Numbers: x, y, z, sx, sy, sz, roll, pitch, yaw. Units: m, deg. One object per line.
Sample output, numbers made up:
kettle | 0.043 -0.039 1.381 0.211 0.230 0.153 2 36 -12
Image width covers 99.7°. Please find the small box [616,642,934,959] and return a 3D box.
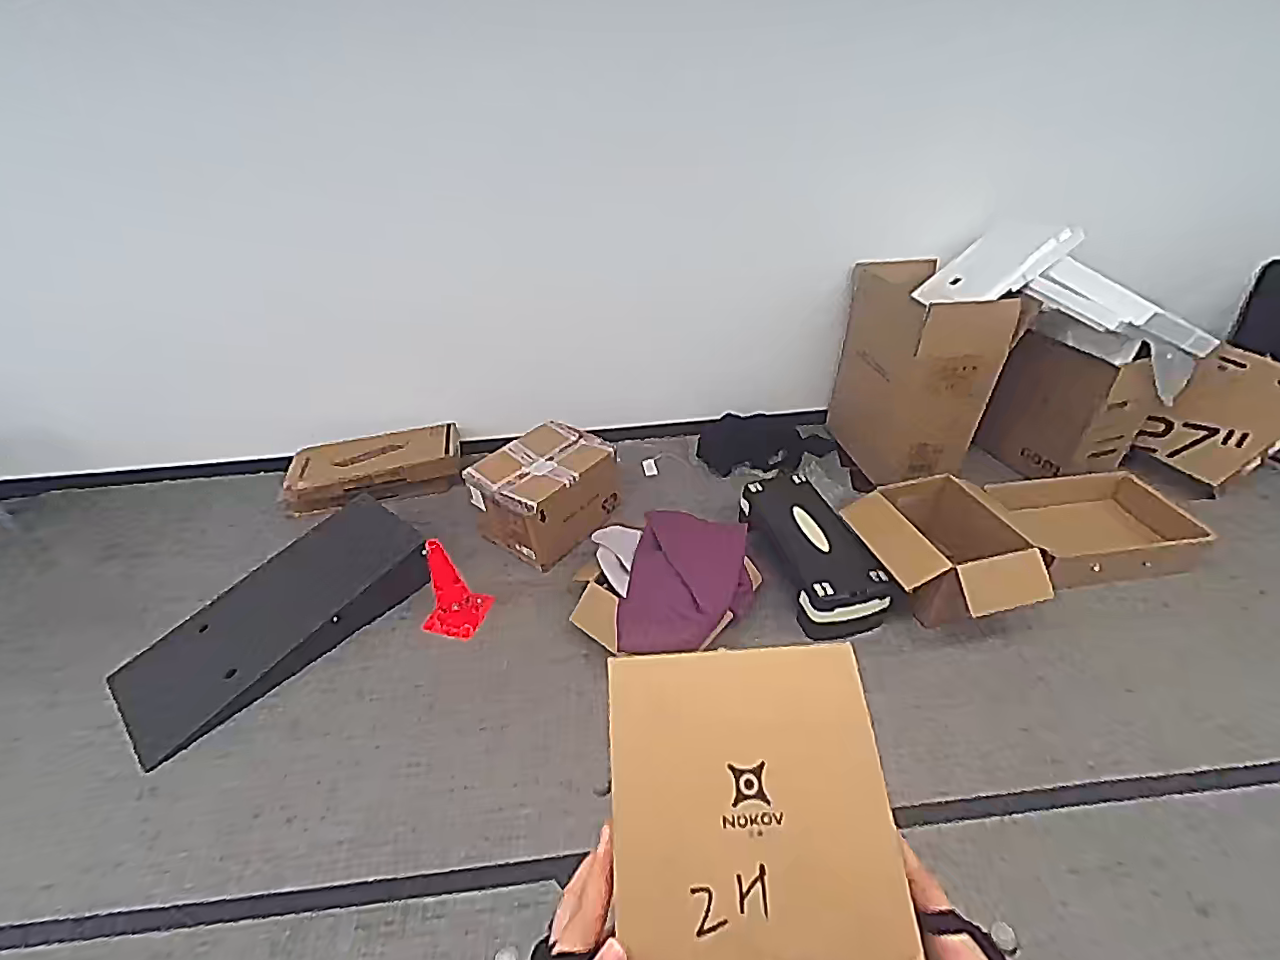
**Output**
small box | 0.070 0.225 0.386 0.168 0.176 0.179 -4 62 1
